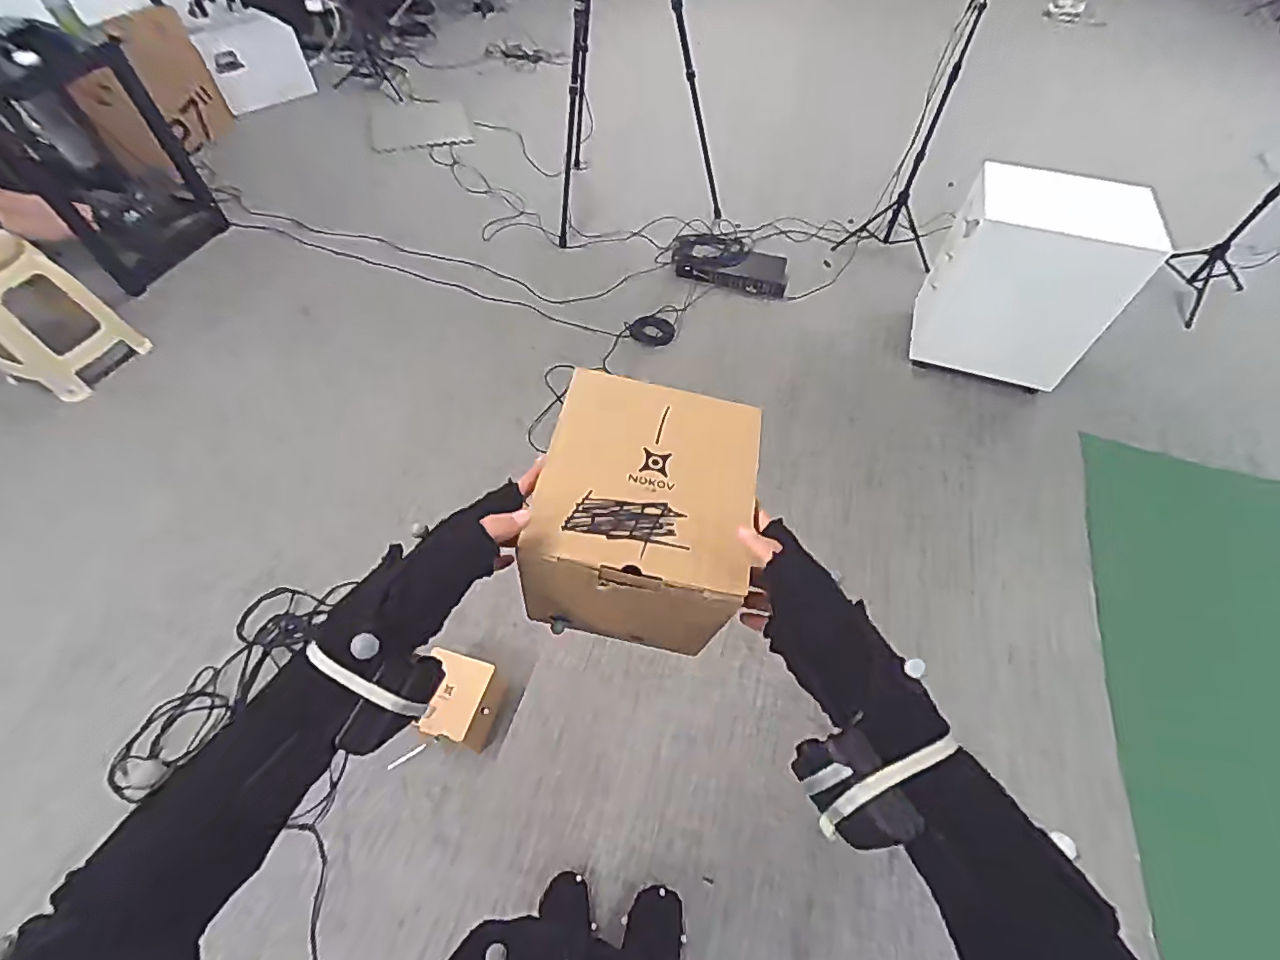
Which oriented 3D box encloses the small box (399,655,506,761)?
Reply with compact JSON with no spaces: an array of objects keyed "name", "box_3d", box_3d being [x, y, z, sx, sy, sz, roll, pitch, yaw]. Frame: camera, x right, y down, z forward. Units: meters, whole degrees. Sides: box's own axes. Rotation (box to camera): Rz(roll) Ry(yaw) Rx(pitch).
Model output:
[{"name":"small box","box_3d":[-0.438,0.551,1.302,0.168,0.176,0.179,13,55,10]}]
